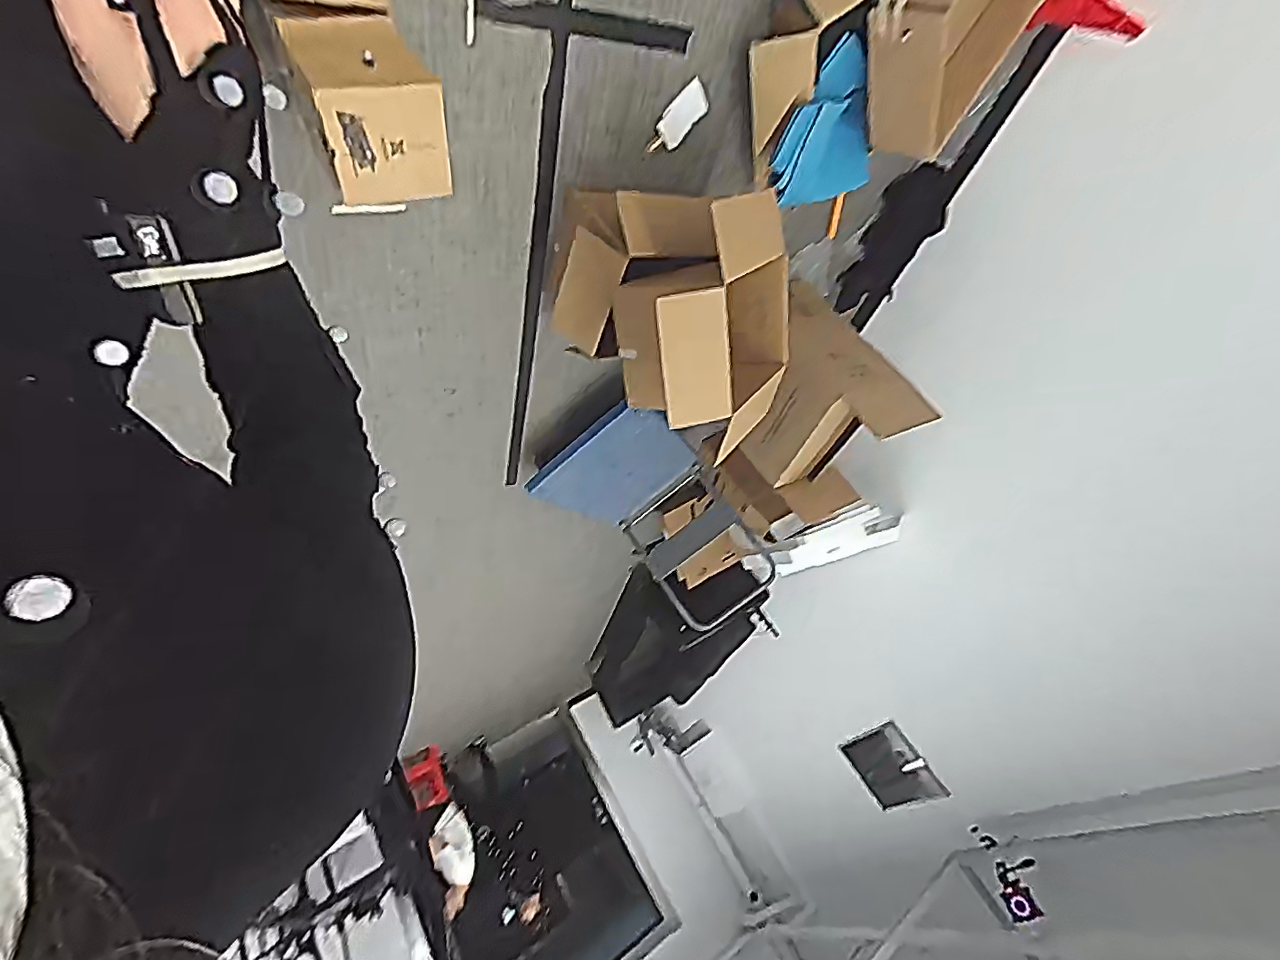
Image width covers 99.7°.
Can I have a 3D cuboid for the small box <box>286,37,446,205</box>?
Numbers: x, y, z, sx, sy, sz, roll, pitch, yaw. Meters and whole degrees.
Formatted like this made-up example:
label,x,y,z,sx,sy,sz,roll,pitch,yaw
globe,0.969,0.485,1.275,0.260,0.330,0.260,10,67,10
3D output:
label,x,y,z,sx,sy,sz,roll,pitch,yaw
small box,-0.427,-0.562,0.848,0.179,0.176,0.168,-23,153,-27
